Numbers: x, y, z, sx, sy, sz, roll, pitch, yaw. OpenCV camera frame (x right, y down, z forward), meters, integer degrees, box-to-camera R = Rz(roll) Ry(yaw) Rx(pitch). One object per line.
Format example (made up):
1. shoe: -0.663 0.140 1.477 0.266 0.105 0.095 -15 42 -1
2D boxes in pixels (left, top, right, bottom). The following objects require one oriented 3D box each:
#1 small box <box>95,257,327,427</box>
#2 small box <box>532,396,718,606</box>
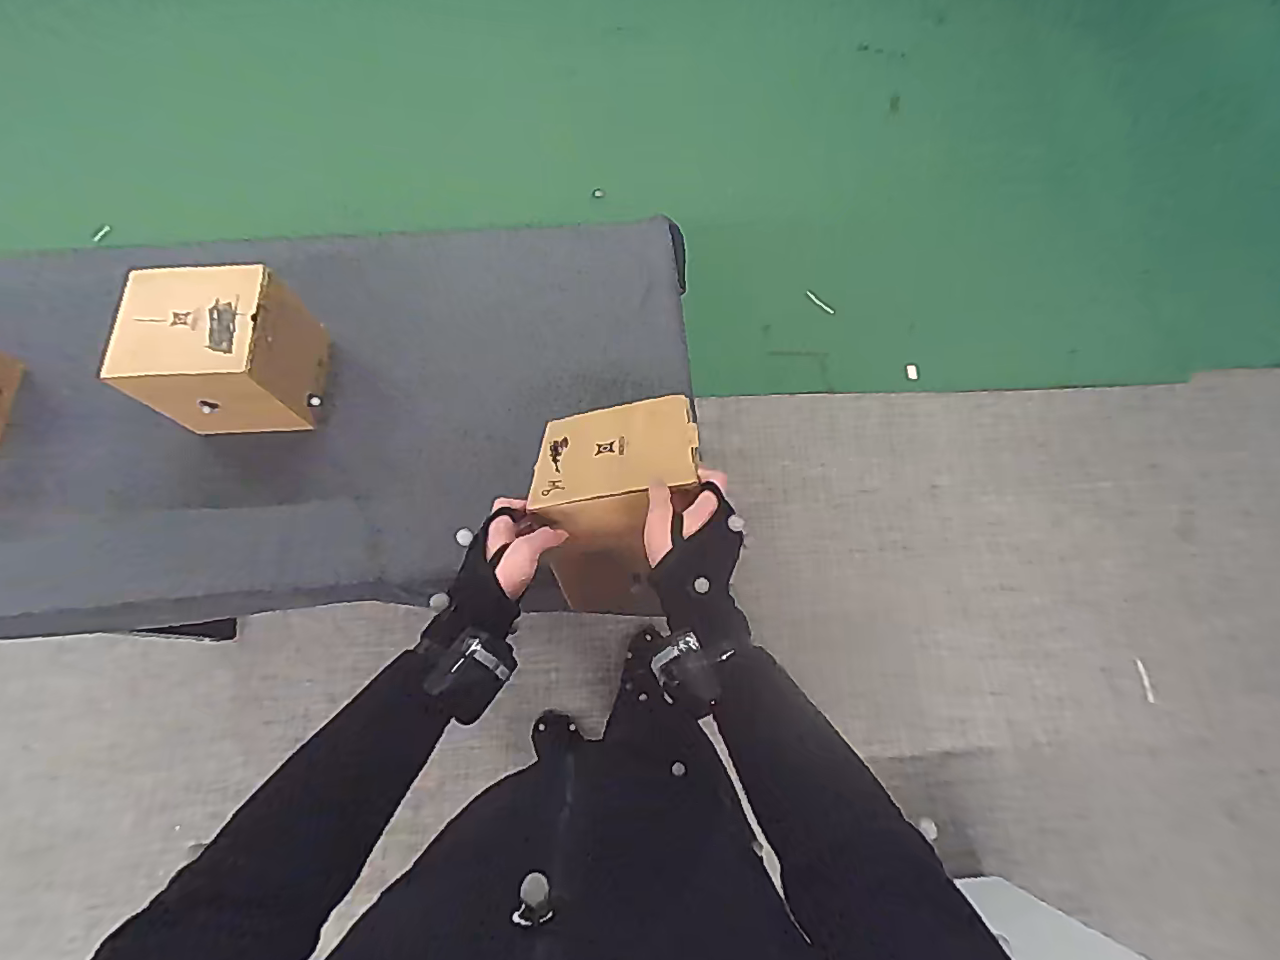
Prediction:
1. small box: -0.567 -0.182 0.746 0.179 0.176 0.168 -2 69 -3
2. small box: -0.005 0.026 0.625 0.179 0.176 0.168 -8 37 7
